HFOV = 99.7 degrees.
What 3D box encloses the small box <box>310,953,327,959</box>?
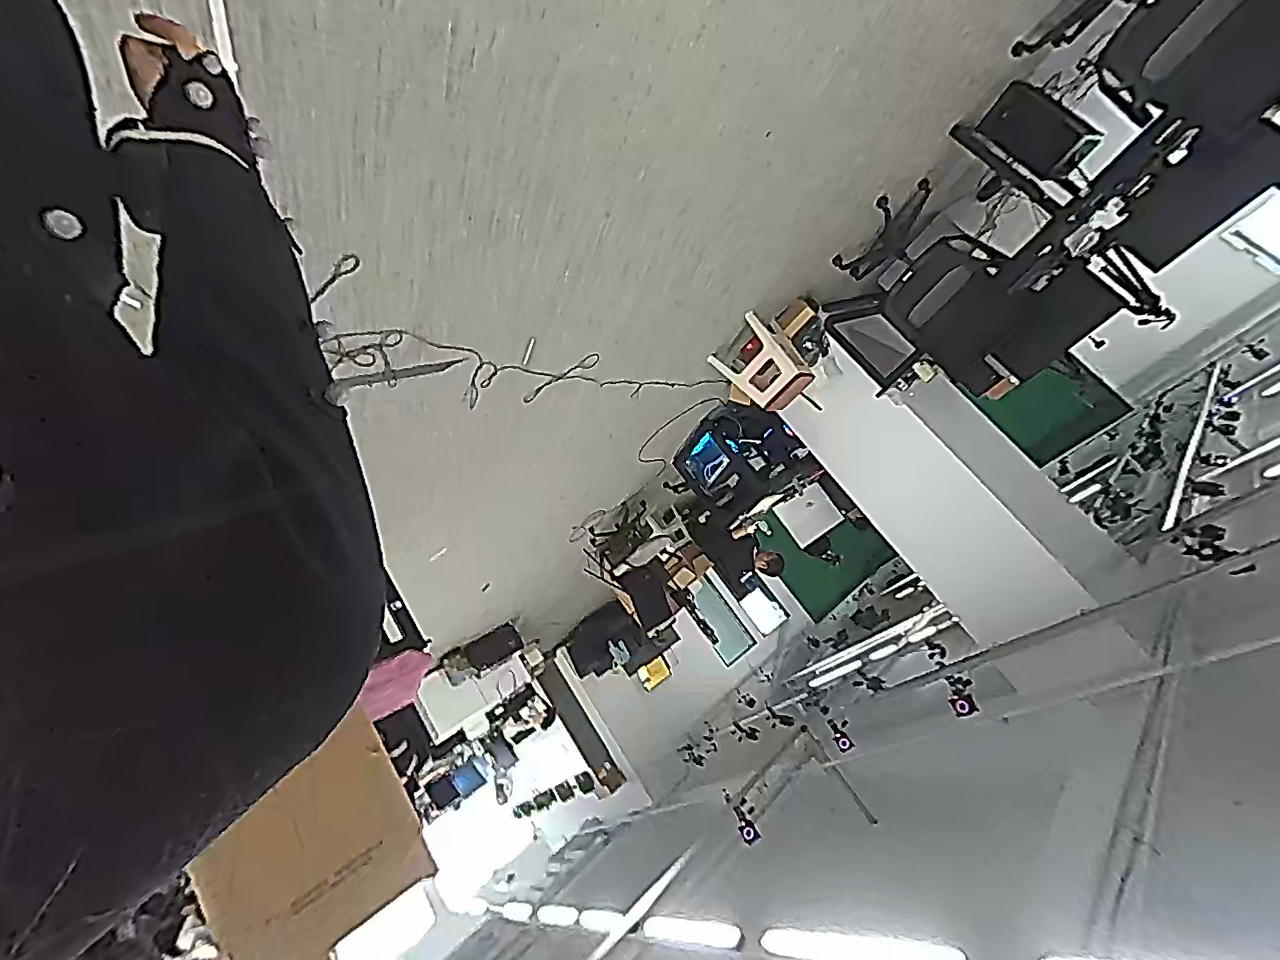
[{"bbox_3d":[-0.908,1.418,1.449,0.179,0.176,0.168,-25,159,-40],"label":"small box"}]
